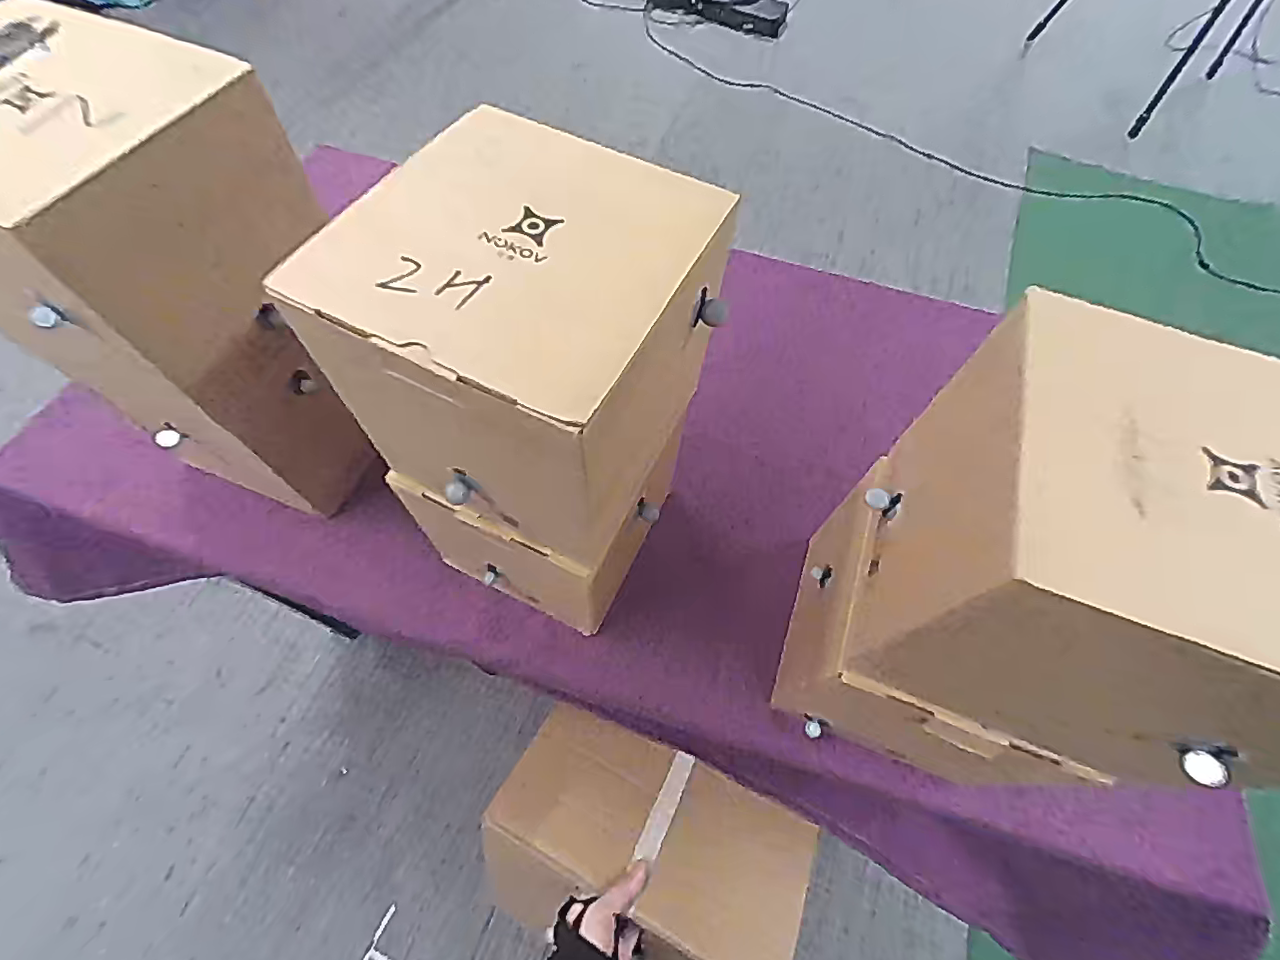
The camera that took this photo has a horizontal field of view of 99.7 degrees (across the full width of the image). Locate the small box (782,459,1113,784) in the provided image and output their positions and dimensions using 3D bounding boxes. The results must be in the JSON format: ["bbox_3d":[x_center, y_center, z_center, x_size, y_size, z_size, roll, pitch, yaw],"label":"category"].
[{"bbox_3d":[0.226,0.118,0.433,0.168,0.176,0.179,20,62,8],"label":"small box"}]

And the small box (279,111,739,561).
[{"bbox_3d":[-0.060,-0.078,0.338,0.168,0.176,0.179,25,65,11],"label":"small box"}]

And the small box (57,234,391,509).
[{"bbox_3d":[-0.351,-0.093,0.515,0.179,0.176,0.168,20,64,8],"label":"small box"}]

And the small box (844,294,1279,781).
[{"bbox_3d":[0.238,0.041,0.289,0.179,0.176,0.168,21,62,9],"label":"small box"}]

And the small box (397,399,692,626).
[{"bbox_3d":[-0.071,0.003,0.481,0.168,0.176,0.179,24,65,10],"label":"small box"}]
